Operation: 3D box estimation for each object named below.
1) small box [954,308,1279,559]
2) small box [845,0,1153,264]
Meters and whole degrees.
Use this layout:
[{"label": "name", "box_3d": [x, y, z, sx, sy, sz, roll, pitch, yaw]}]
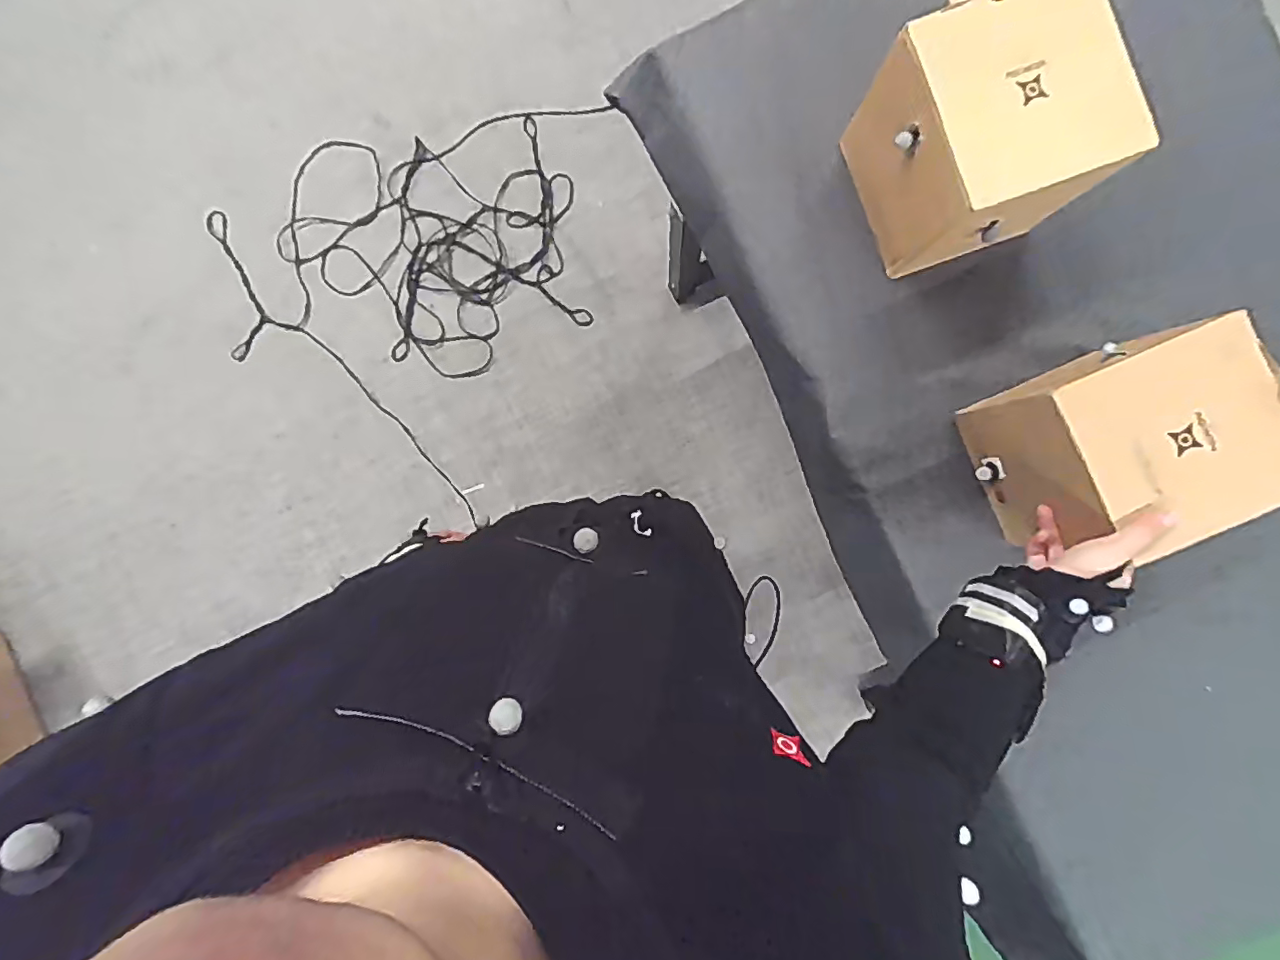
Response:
[{"label": "small box", "box_3d": [0.464, -0.040, 0.539, 0.179, 0.176, 0.168, -25, 89, 2]}, {"label": "small box", "box_3d": [0.334, -0.340, 0.541, 0.168, 0.176, 0.179, -20, 89, 1]}]
